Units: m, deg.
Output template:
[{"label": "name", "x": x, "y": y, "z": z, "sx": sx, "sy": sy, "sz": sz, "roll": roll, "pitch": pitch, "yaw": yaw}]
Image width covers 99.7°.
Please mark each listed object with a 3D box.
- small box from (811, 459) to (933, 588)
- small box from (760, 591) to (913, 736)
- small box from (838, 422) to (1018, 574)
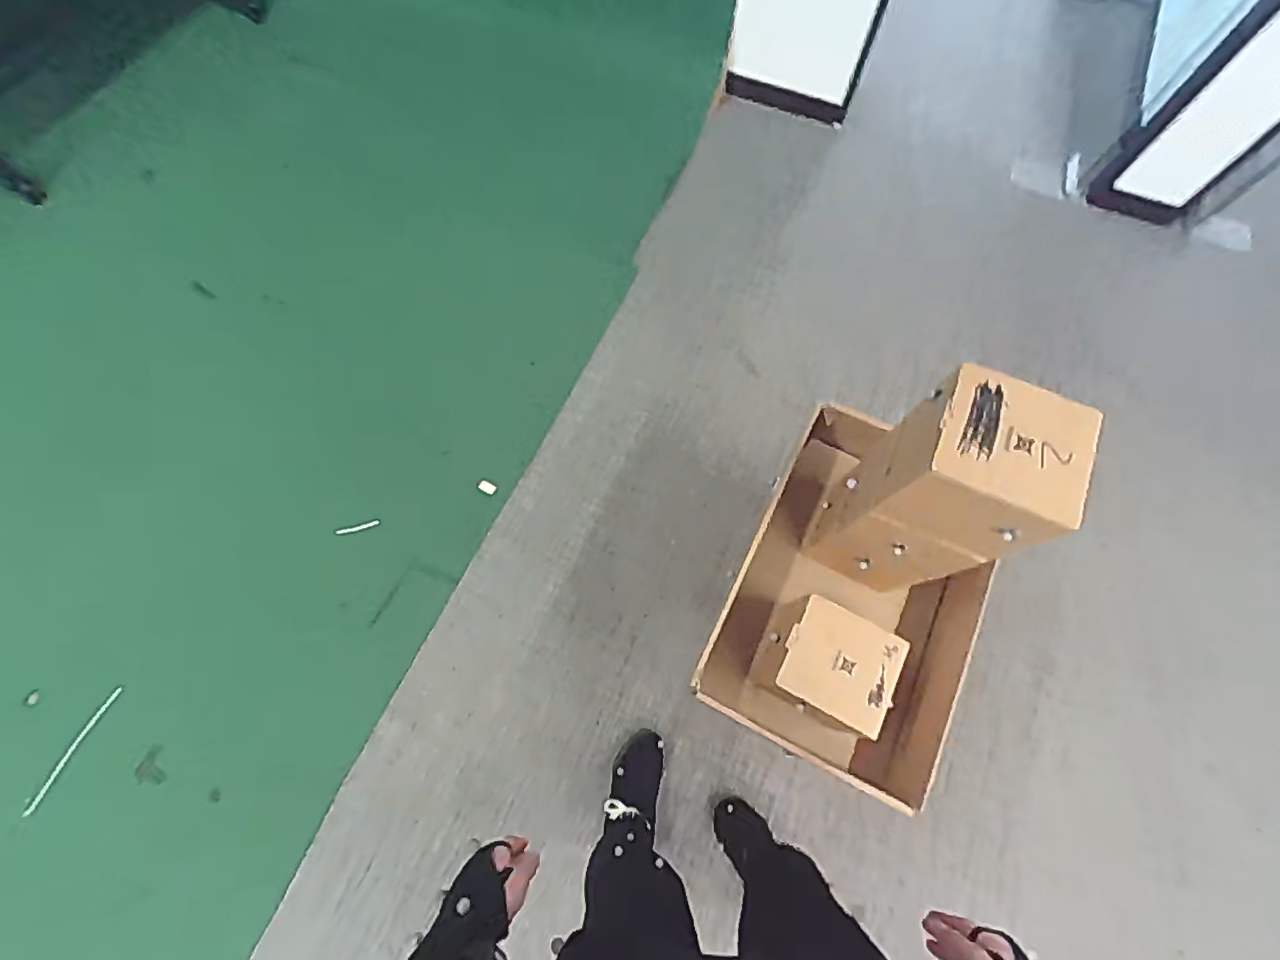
[{"label": "small box", "x": 0.452, "y": 0.091, "z": 1.023, "sx": 0.179, "sy": 0.176, "sz": 0.168, "roll": 26, "pitch": 73, "yaw": 9}, {"label": "small box", "x": 0.328, "y": 0.318, "z": 0.937, "sx": 0.179, "sy": 0.176, "sz": 0.168, "roll": 28, "pitch": 72, "yaw": 9}, {"label": "small box", "x": 0.450, "y": 0.039, "z": 0.867, "sx": 0.179, "sy": 0.176, "sz": 0.168, "roll": 24, "pitch": 72, "yaw": 9}]
